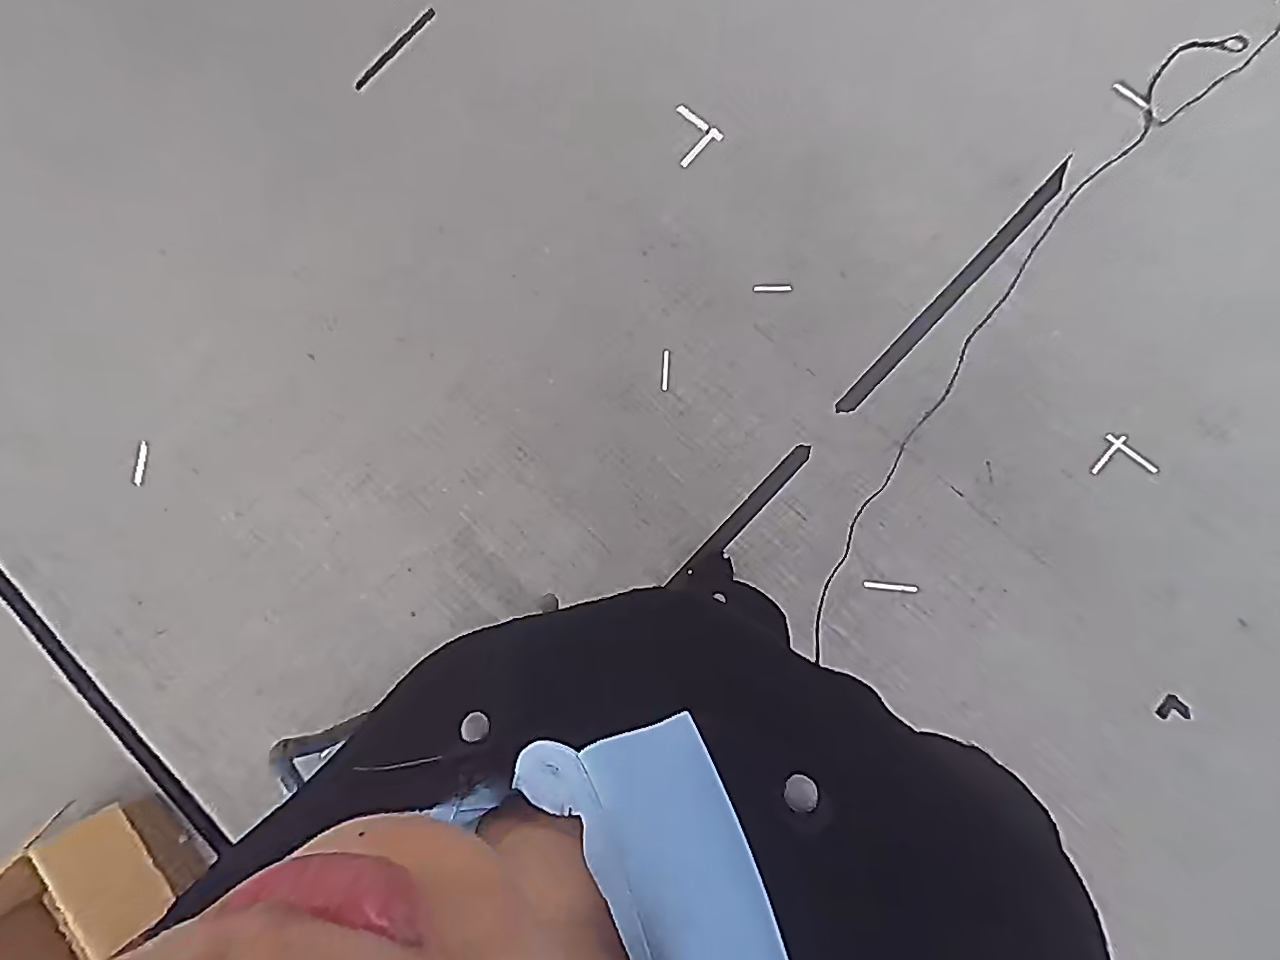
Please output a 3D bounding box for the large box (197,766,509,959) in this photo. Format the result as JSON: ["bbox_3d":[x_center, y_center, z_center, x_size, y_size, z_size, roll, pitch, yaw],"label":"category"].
[{"bbox_3d":[-0.547,0.893,1.107,0.408,0.320,0.320,42,87,6],"label":"large box"}]
